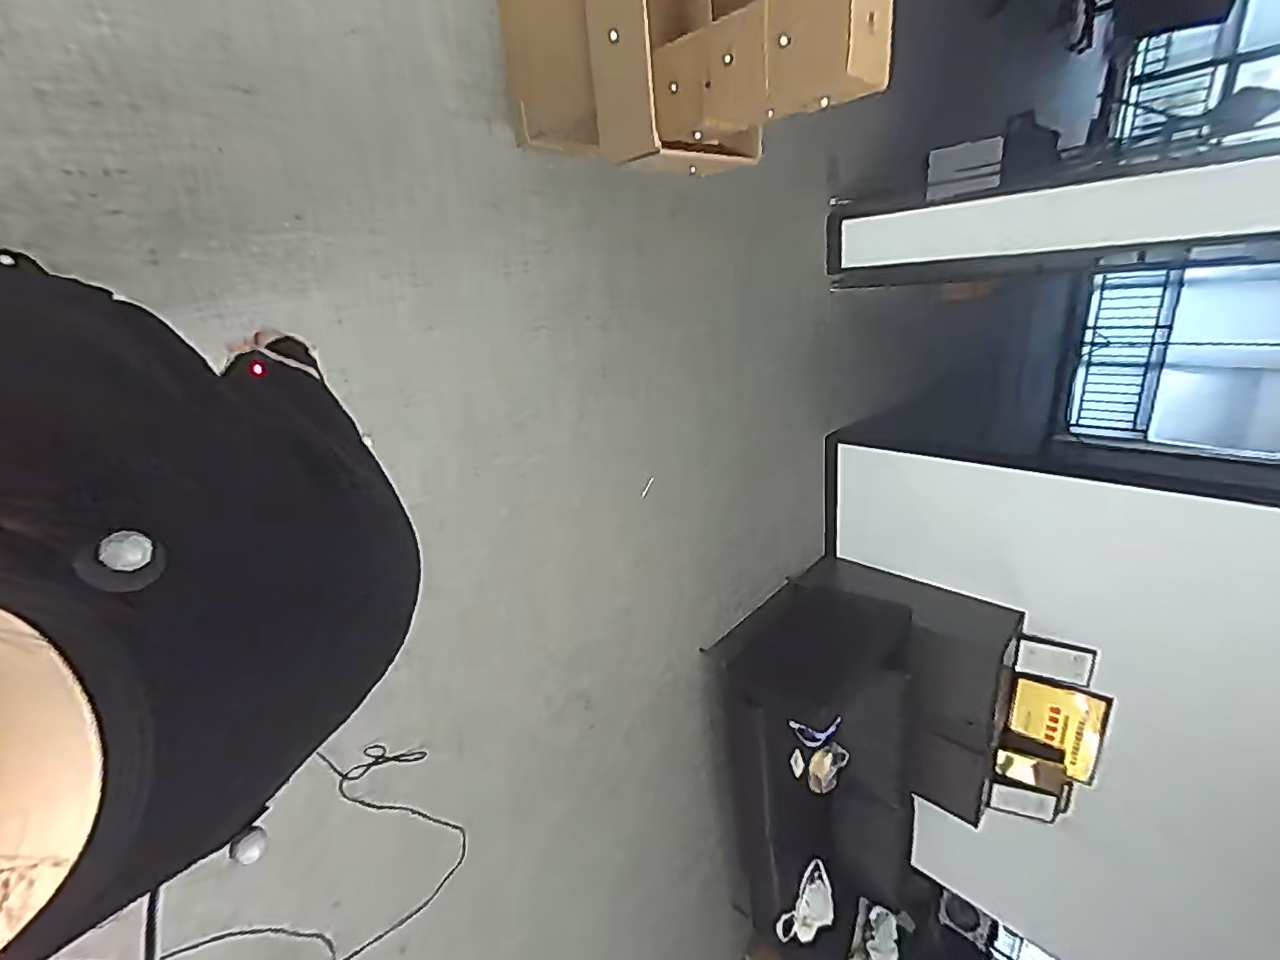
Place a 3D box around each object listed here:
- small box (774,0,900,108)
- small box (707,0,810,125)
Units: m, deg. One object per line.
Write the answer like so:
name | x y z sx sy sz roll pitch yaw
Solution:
small box | 0.369 -0.837 1.030 0.168 0.176 0.179 -22 117 -39
small box | 0.254 -0.871 1.143 0.179 0.176 0.168 -23 117 -39
